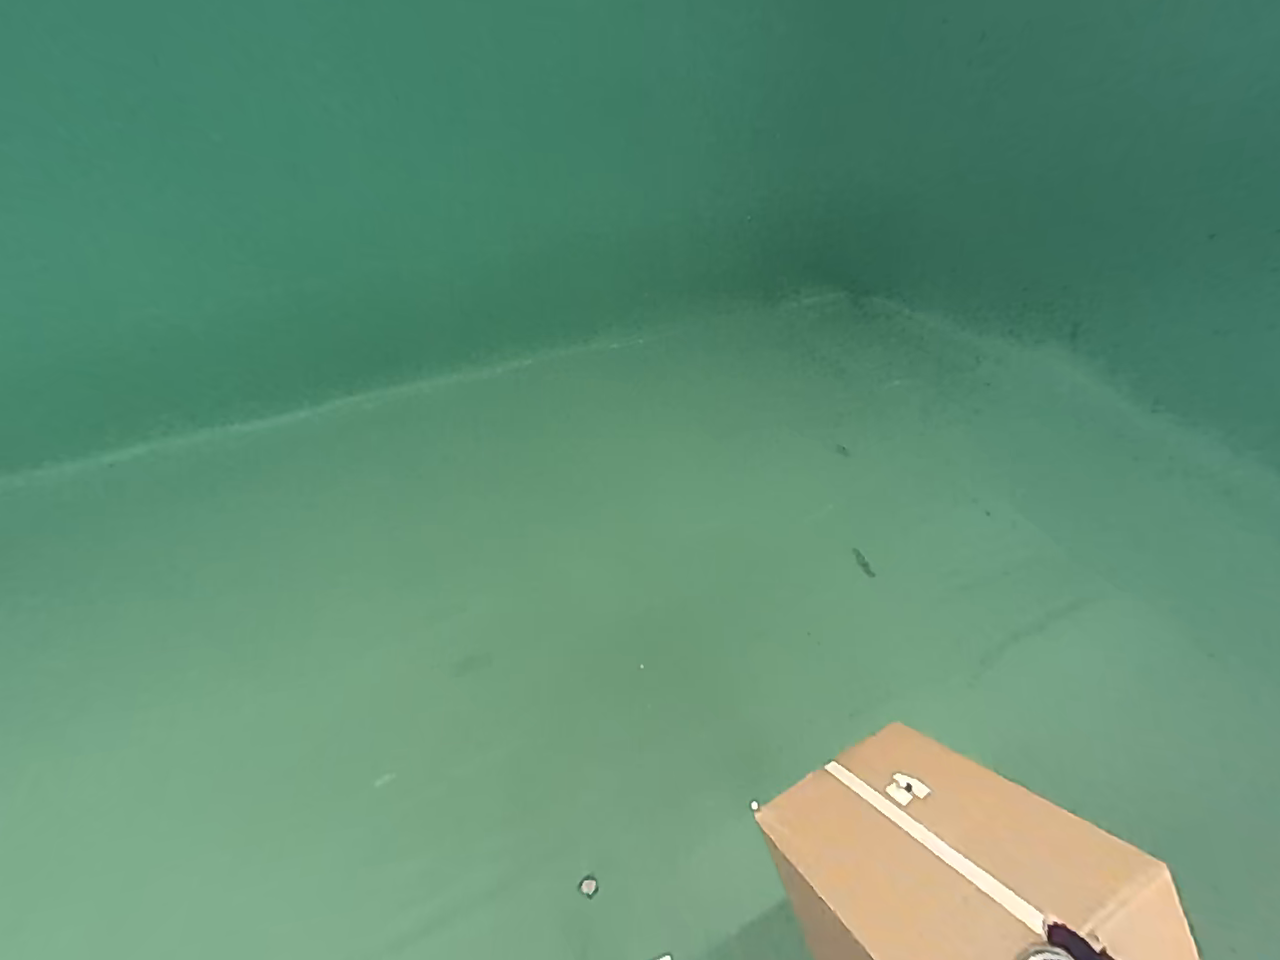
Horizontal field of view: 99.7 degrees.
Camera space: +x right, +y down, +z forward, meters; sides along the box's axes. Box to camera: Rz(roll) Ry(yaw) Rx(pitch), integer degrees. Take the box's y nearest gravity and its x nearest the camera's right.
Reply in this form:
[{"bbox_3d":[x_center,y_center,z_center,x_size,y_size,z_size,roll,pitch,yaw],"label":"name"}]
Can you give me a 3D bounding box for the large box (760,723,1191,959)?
[{"bbox_3d":[0.442,0.622,0.755,0.320,0.320,0.408,-22,3,-15],"label":"large box"}]
